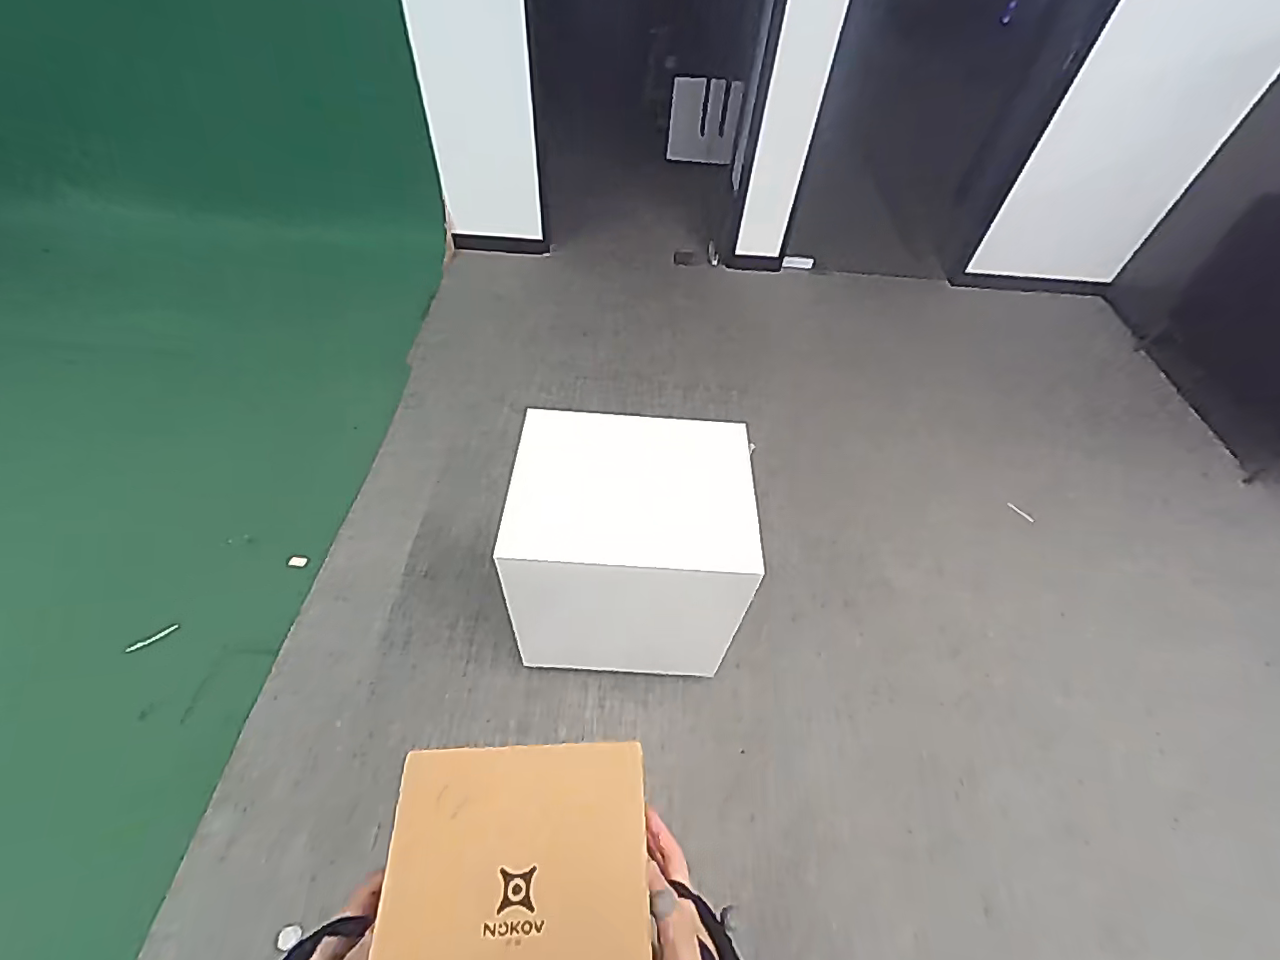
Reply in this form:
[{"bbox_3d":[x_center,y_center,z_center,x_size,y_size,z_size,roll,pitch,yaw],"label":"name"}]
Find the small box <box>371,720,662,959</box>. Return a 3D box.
[{"bbox_3d":[-0.075,0.289,0.392,0.168,0.176,0.179,-2,54,-4],"label":"small box"}]
